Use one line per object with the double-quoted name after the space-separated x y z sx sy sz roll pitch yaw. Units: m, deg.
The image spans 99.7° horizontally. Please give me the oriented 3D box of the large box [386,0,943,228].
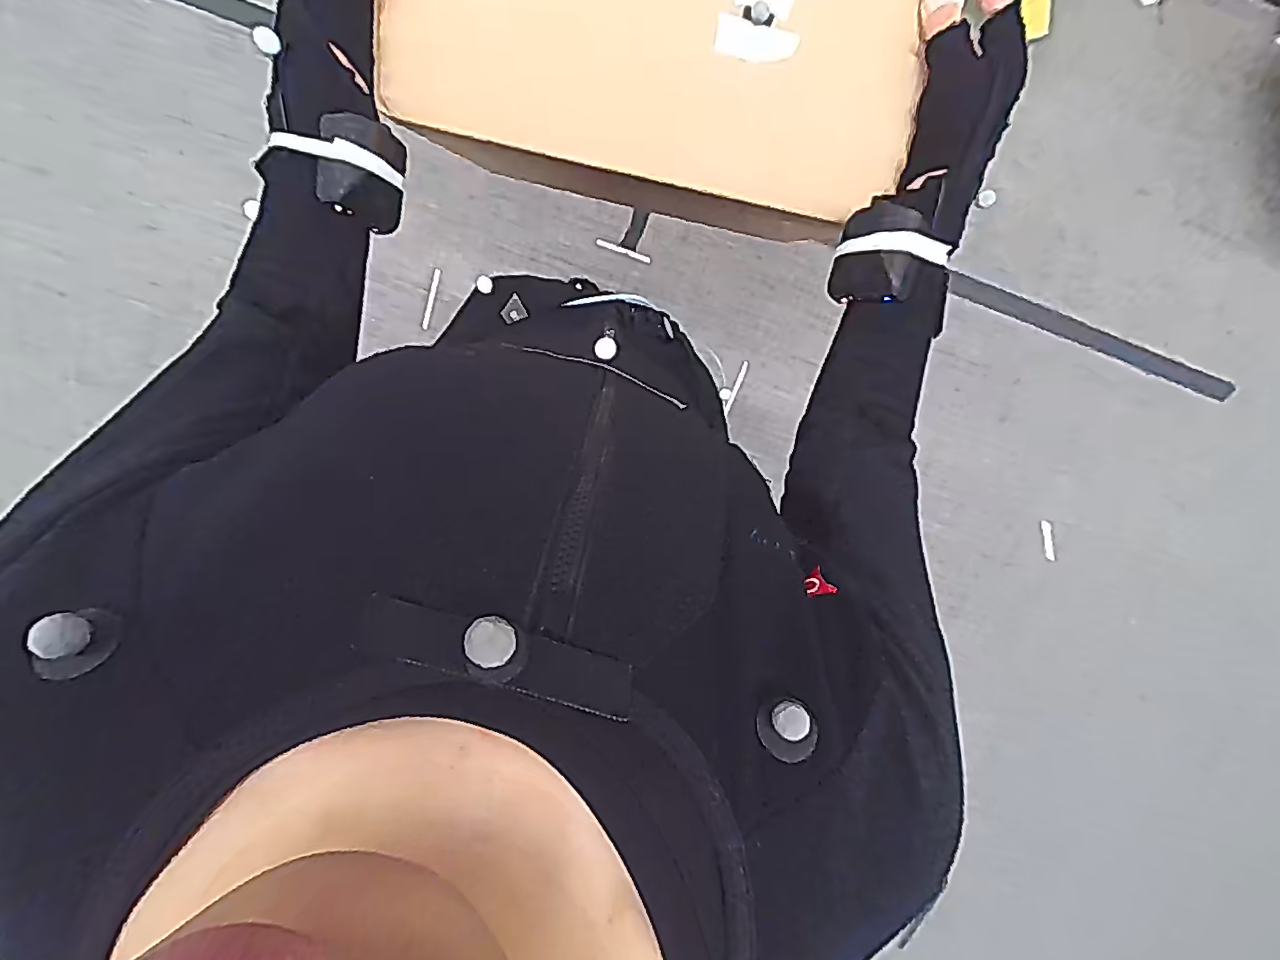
0.026 -0.447 0.510 0.408 0.320 0.320 10 113 -5 "large box"
